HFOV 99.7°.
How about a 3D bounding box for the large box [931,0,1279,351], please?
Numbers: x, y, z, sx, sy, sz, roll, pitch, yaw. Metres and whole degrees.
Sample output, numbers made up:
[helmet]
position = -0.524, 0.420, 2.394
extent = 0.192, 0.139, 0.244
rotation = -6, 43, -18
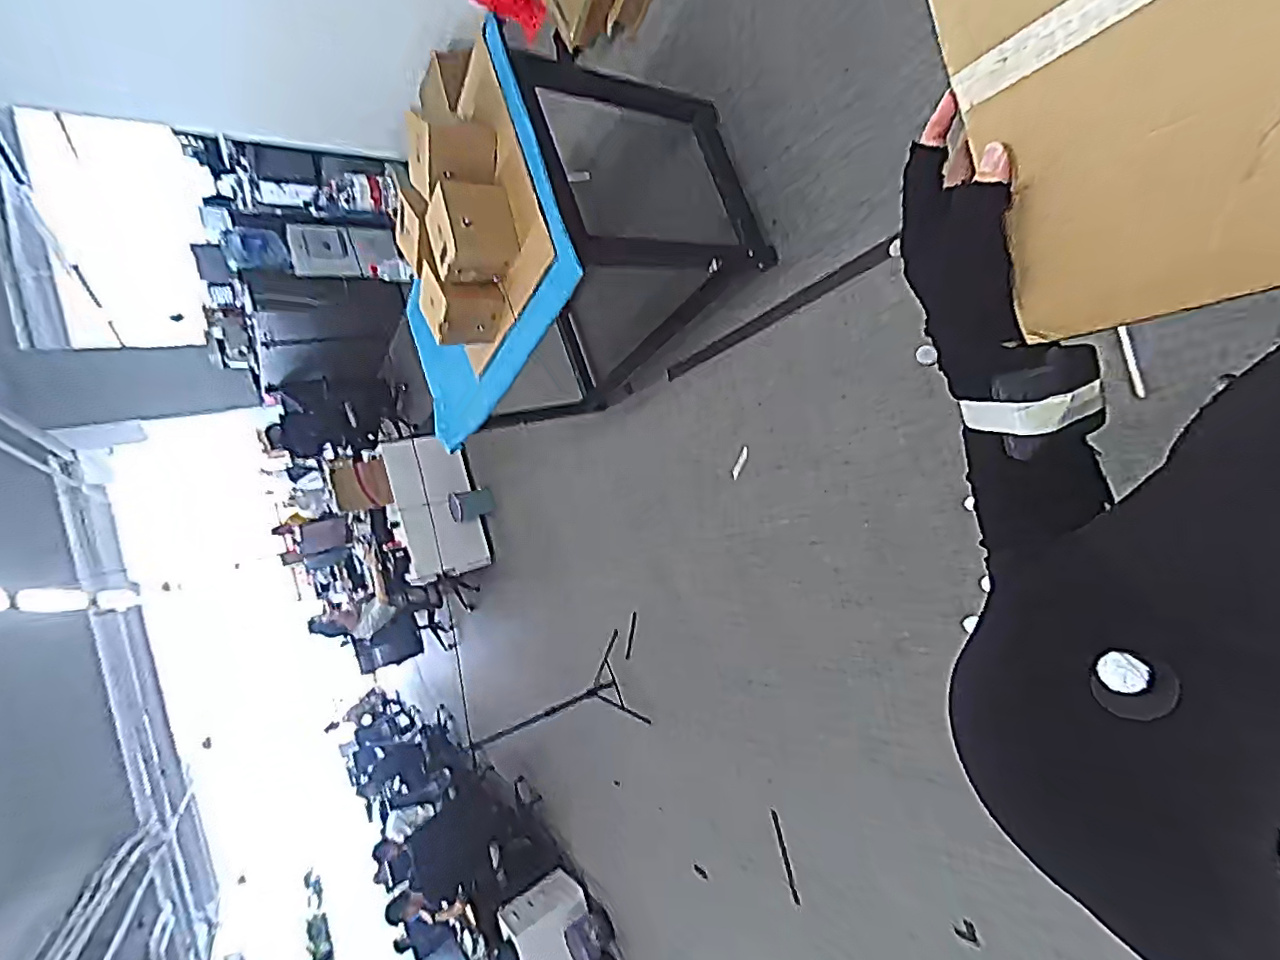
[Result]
[large box]
position = 0.416, -0.302, 0.245
extent = 0.408, 0.320, 0.320
rotation = -8, 107, 55
